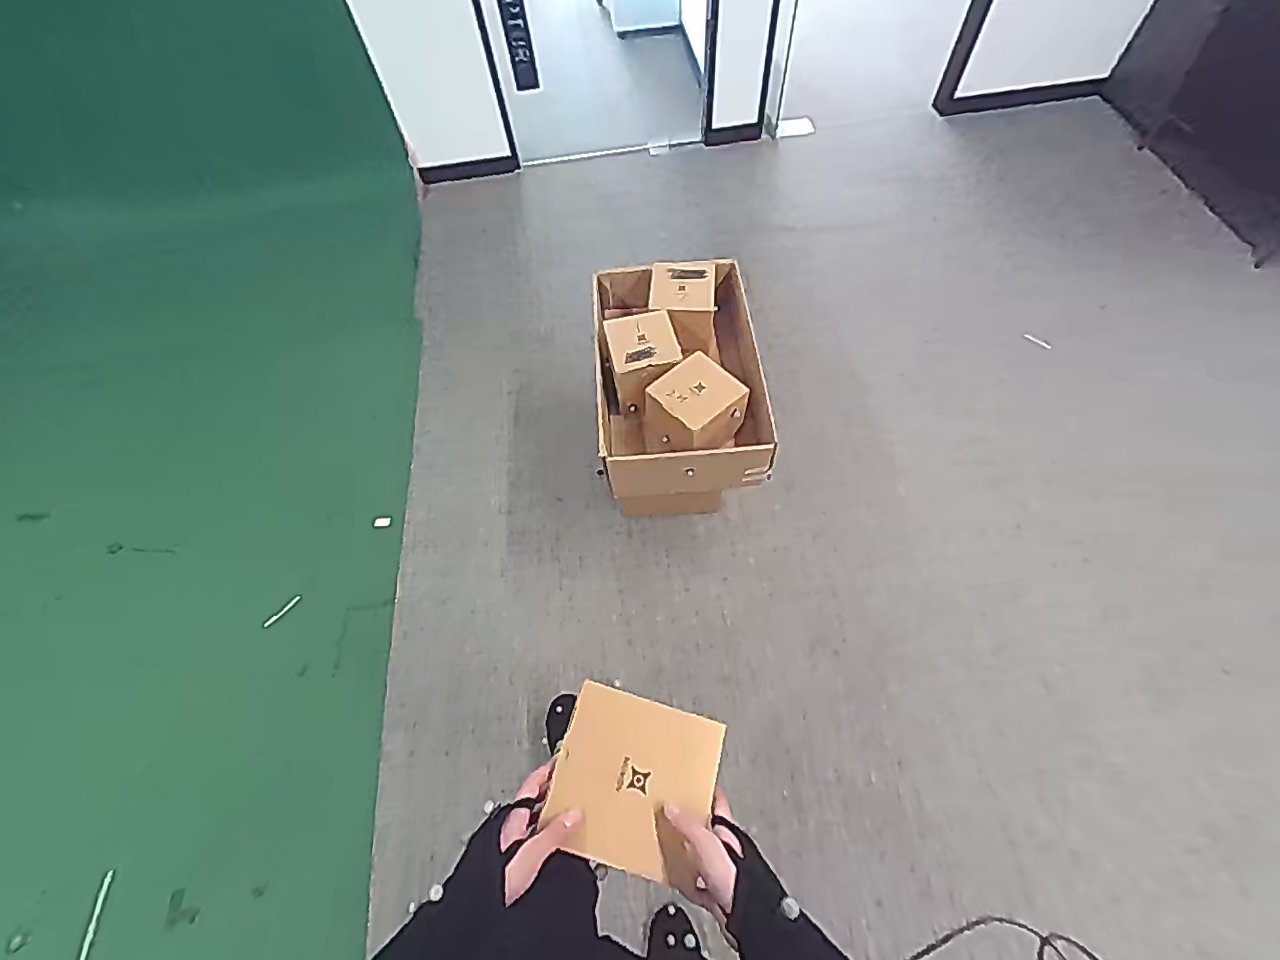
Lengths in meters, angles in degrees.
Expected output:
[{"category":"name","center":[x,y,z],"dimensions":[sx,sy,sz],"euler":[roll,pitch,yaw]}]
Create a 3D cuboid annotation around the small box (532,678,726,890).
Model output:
[{"category":"small box","center":[-0.012,0.357,0.653],"dimensions":[0.179,0.176,0.168],"euler":[16,61,4]}]
